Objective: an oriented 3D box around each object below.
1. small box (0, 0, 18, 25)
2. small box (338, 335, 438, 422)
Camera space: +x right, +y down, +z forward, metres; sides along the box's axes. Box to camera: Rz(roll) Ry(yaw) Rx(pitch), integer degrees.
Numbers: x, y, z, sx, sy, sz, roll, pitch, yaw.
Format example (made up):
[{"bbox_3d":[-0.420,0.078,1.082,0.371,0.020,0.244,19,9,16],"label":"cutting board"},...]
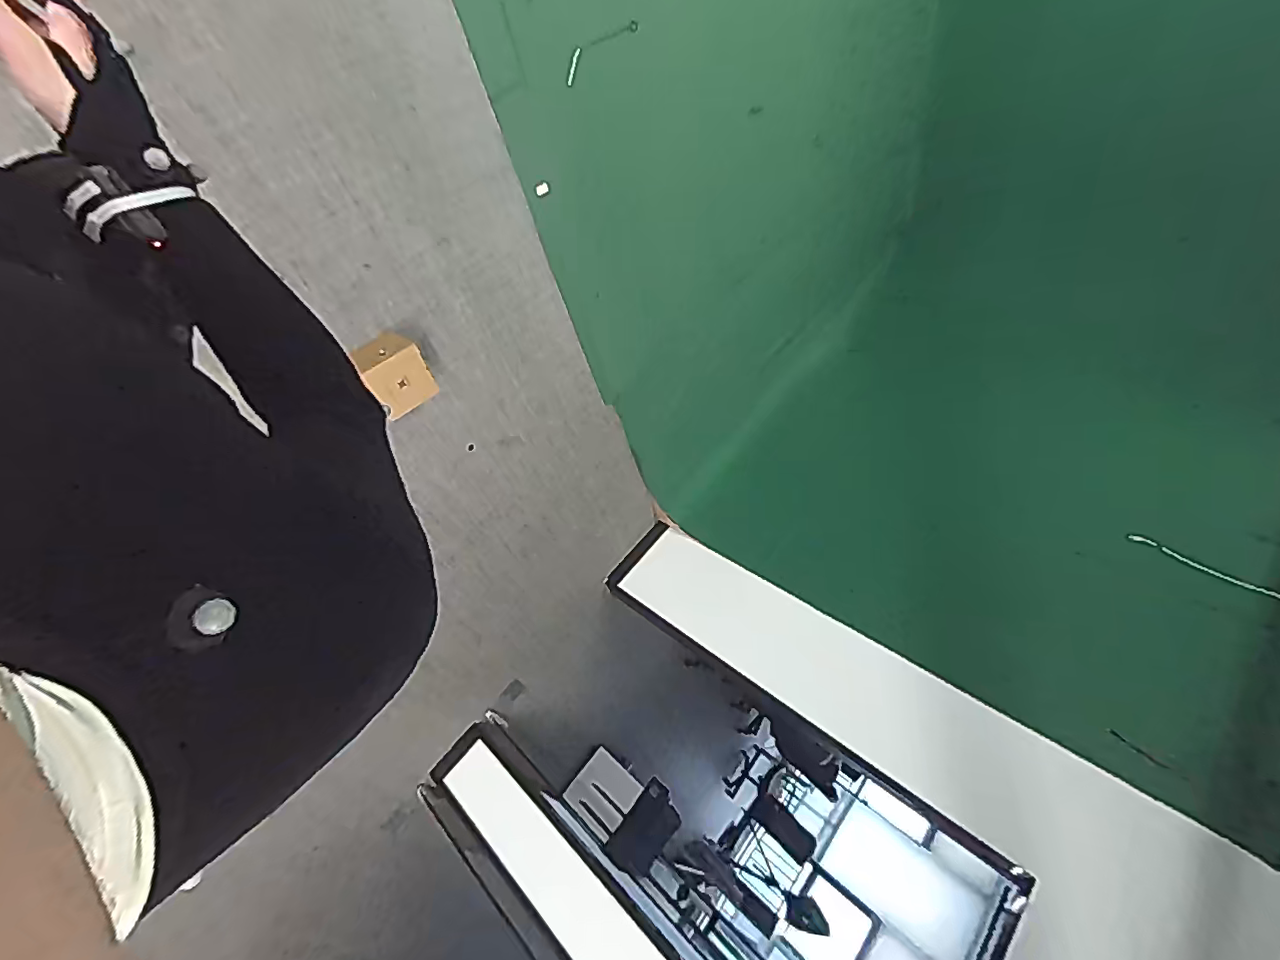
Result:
[{"bbox_3d":[-0.517,-0.440,0.340,0.168,0.176,0.179,1,107,-53],"label":"small box"},{"bbox_3d":[-0.735,-0.303,1.579,0.179,0.176,0.168,-42,139,-26],"label":"small box"}]
